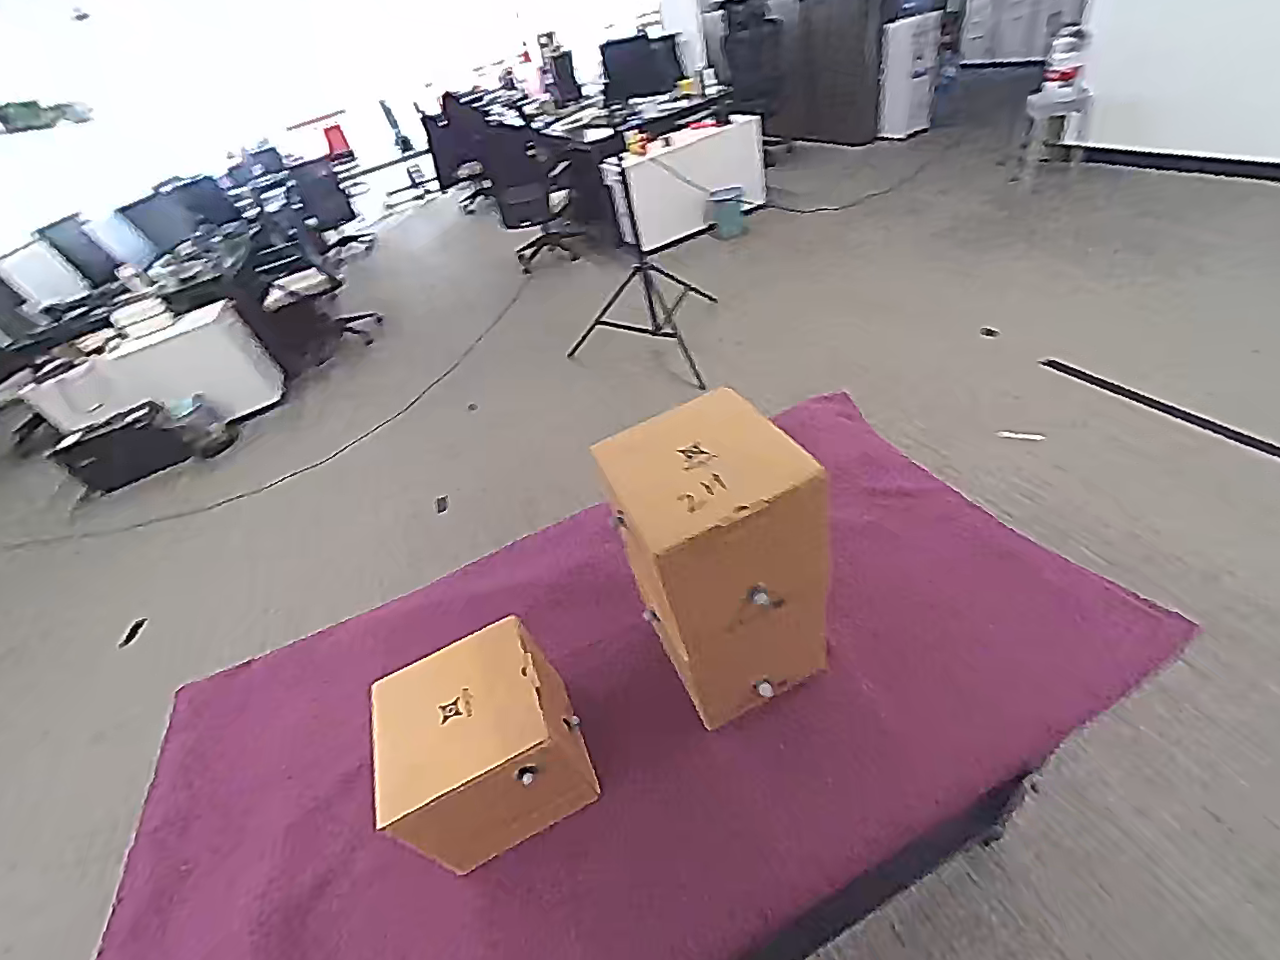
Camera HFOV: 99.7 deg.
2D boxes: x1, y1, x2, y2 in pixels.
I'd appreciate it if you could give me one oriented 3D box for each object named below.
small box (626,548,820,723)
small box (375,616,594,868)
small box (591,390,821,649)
[{"bbox_3d":[0.102,0.161,0.673,0.168,0.176,0.179,-25,41,-9],"label":"small box"},{"bbox_3d":[-0.175,0.298,0.617,0.179,0.176,0.168,-25,40,-10],"label":"small box"},{"bbox_3d":[0.069,0.039,0.567,0.168,0.176,0.179,-25,41,-8],"label":"small box"}]
